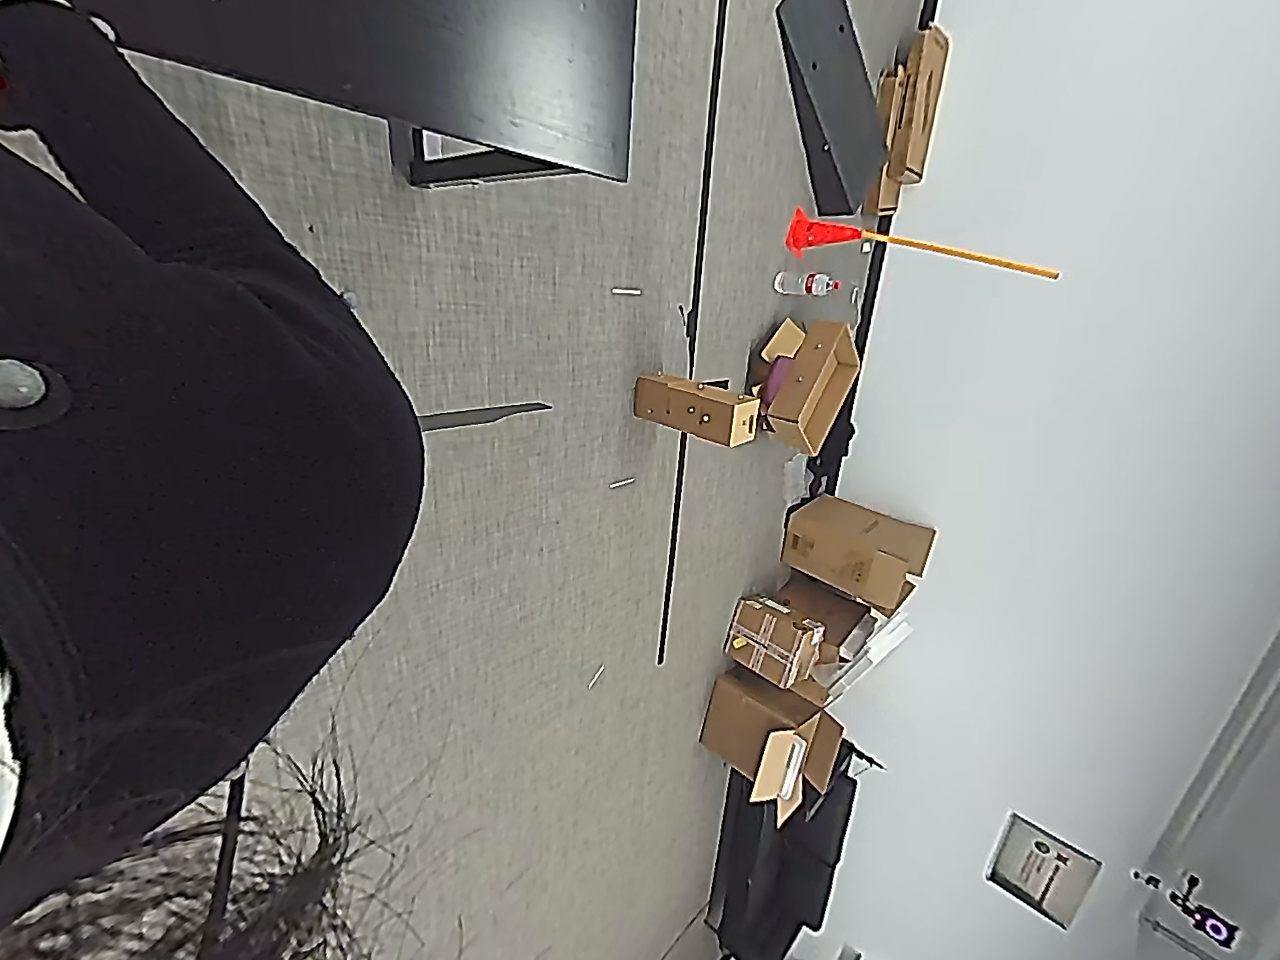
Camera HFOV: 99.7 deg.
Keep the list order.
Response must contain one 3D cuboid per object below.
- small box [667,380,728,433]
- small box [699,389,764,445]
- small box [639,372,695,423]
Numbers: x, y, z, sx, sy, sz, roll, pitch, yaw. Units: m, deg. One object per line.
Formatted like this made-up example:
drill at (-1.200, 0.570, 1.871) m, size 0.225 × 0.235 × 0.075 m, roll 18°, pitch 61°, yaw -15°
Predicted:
small box at (0.230, -0.302, 2.177) m, size 0.179 × 0.176 × 0.168 m, roll -21°, pitch 122°, yaw -45°
small box at (0.351, -0.249, 2.077) m, size 0.179 × 0.176 × 0.168 m, roll -19°, pitch 121°, yaw -43°
small box at (0.111, -0.351, 2.279) m, size 0.168 × 0.176 × 0.179 m, roll -18°, pitch 119°, yaw -45°
